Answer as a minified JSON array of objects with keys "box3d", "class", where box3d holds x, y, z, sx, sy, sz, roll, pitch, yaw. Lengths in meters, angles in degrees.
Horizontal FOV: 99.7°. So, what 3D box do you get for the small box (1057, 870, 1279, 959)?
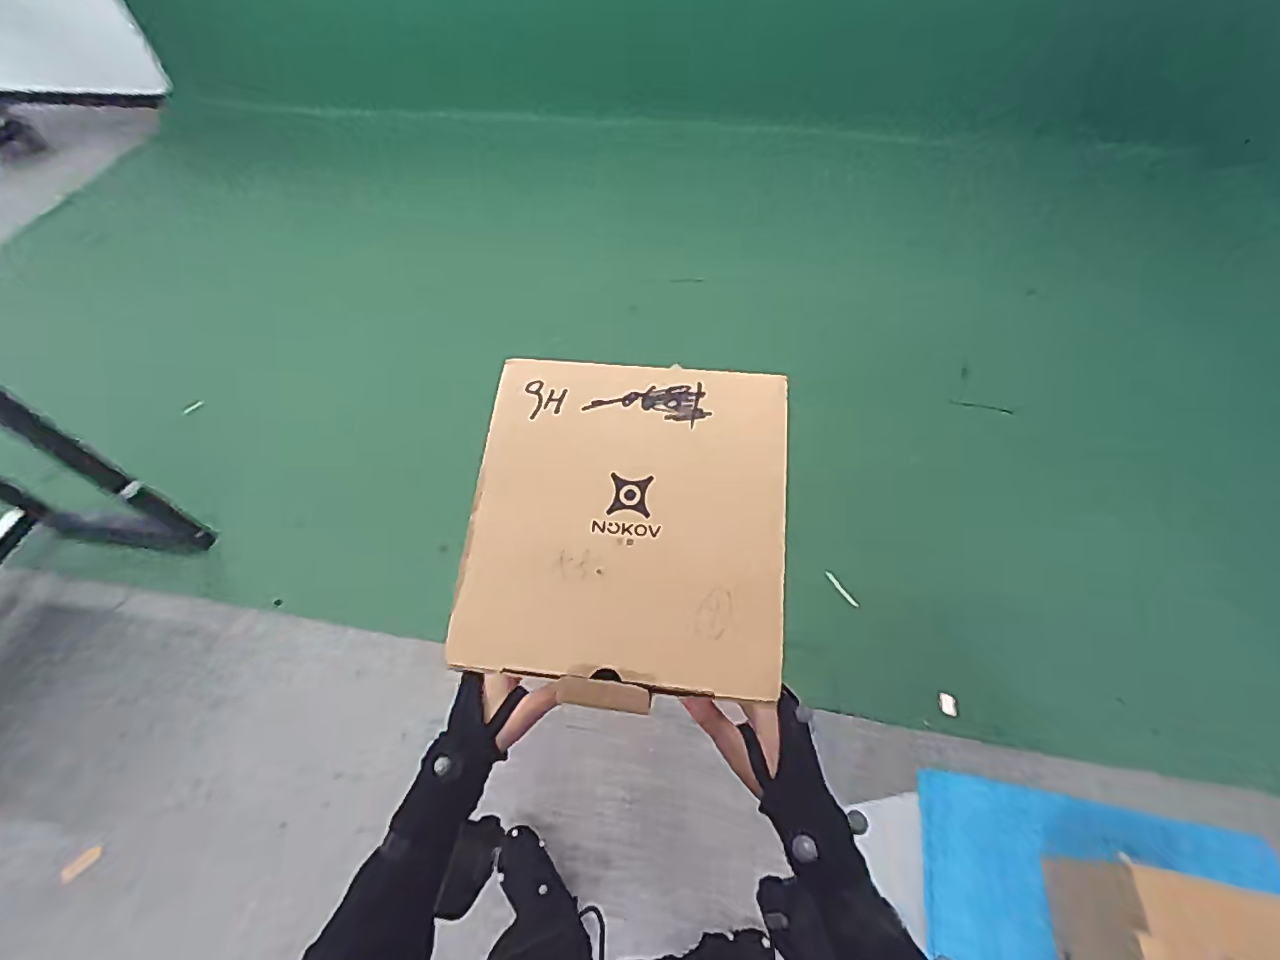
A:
[{"box3d":[0.584,0.535,0.574,0.179,0.176,0.168,11,58,9],"class":"small box"}]
